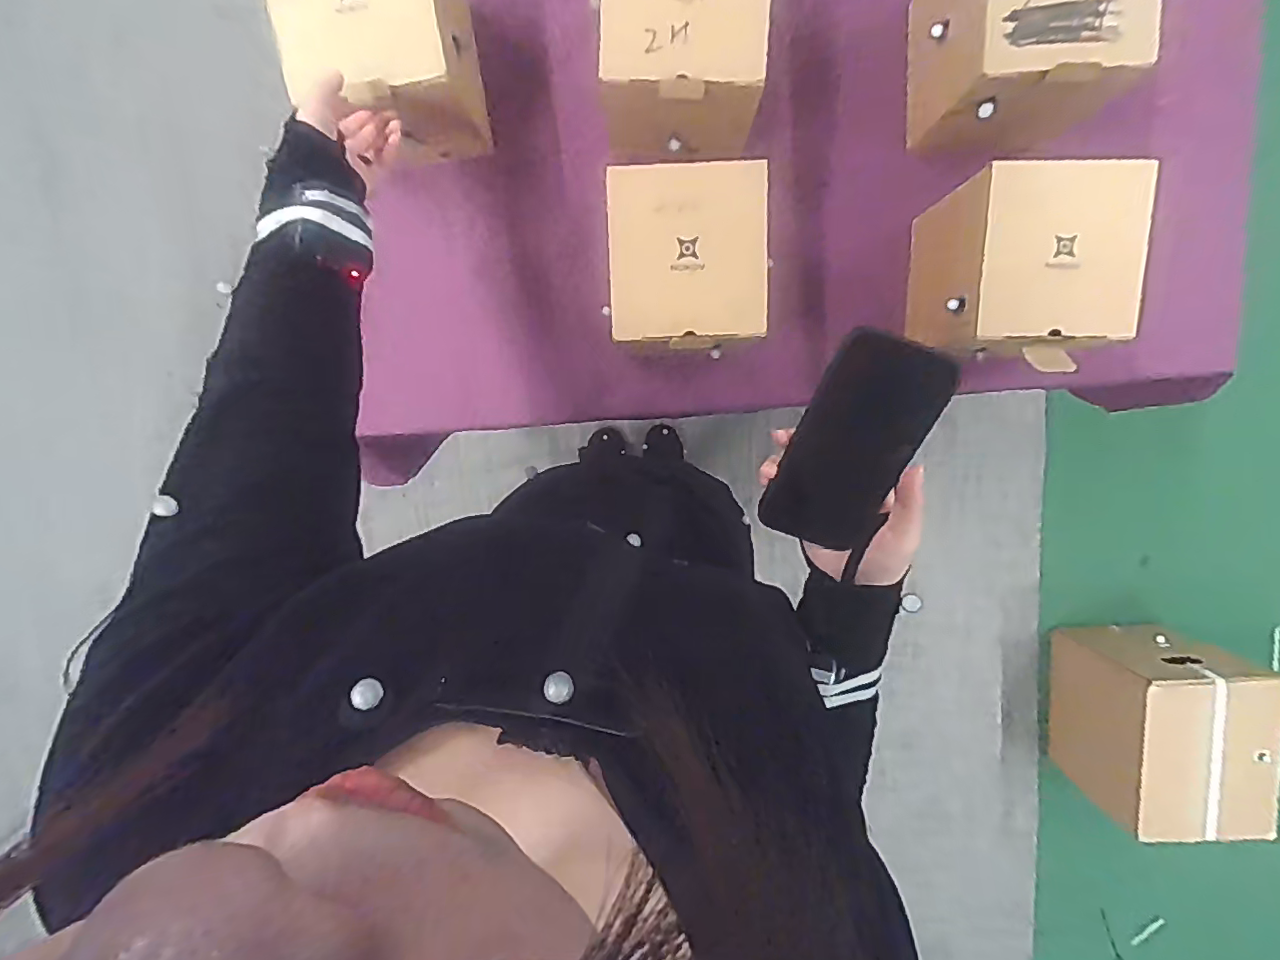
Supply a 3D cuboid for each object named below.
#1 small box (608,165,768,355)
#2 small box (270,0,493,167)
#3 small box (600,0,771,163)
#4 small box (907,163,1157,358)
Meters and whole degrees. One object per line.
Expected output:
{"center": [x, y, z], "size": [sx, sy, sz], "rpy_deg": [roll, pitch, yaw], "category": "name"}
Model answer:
{"center": [0.052, -0.241, 0.638], "size": [0.168, 0.176, 0.179], "rpy_deg": [-2, 97, 1], "category": "small box"}
{"center": [-0.280, -0.480, 0.612], "size": [0.168, 0.176, 0.179], "rpy_deg": [-8, 99, 2], "category": "small box"}
{"center": [0.047, -0.486, 0.601], "size": [0.168, 0.176, 0.179], "rpy_deg": [3, 99, 2], "category": "small box"}
{"center": [0.431, -0.239, 0.627], "size": [0.168, 0.176, 0.179], "rpy_deg": [1, 98, 2], "category": "small box"}
